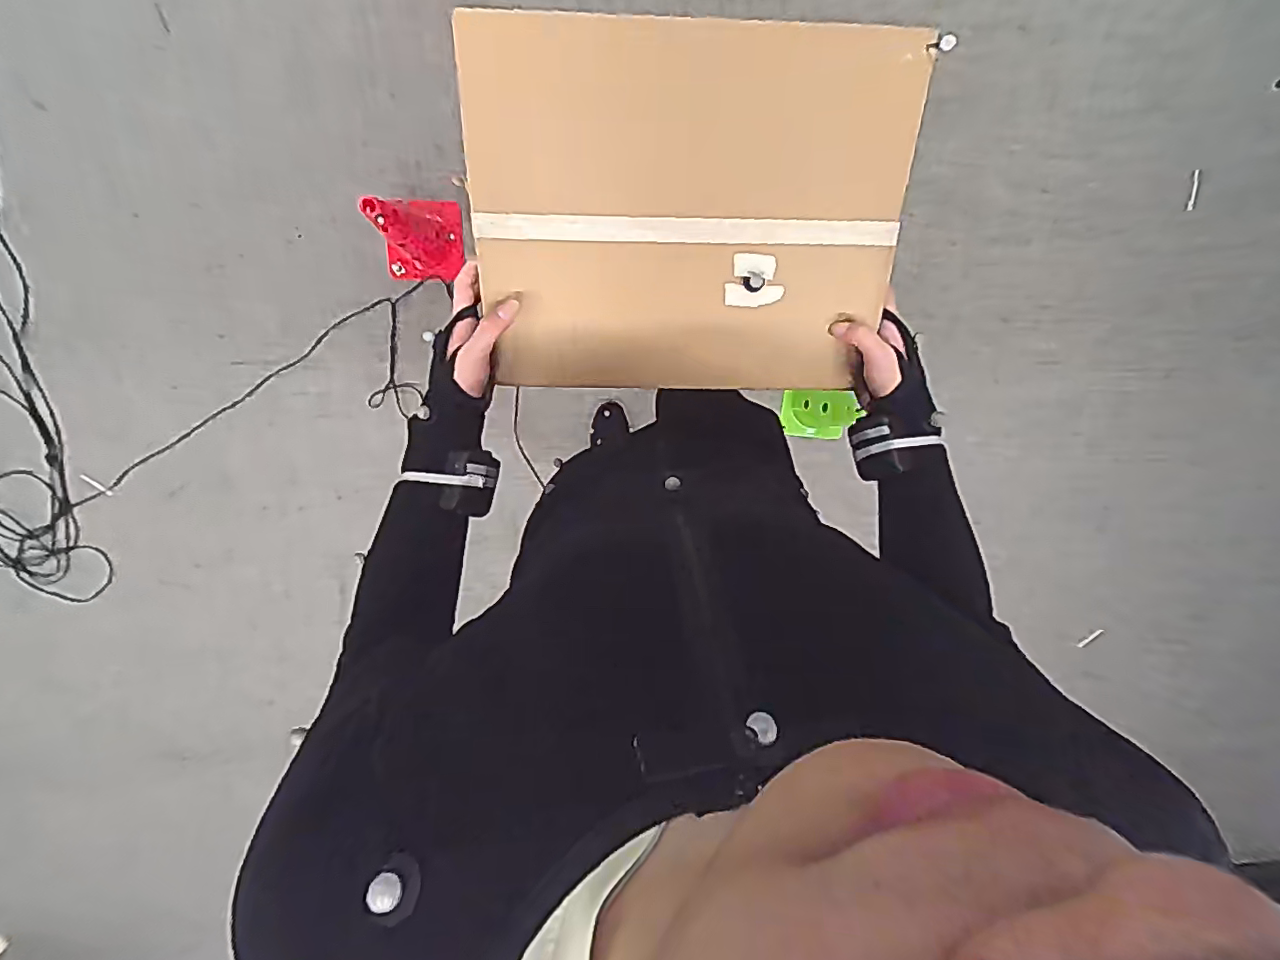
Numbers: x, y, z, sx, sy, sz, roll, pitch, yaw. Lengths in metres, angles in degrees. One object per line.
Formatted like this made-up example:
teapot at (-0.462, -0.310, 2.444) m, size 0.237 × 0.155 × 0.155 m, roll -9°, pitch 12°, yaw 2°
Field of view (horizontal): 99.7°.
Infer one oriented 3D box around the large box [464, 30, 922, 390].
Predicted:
large box at (0.040, -0.304, 0.659) m, size 0.408 × 0.320 × 0.320 m, roll -1°, pitch 117°, yaw -3°

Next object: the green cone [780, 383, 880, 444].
green cone at (0.537, -0.180, 1.445) m, size 0.200 × 0.368 × 0.202 m, roll 4°, pitch 101°, yaw -5°
